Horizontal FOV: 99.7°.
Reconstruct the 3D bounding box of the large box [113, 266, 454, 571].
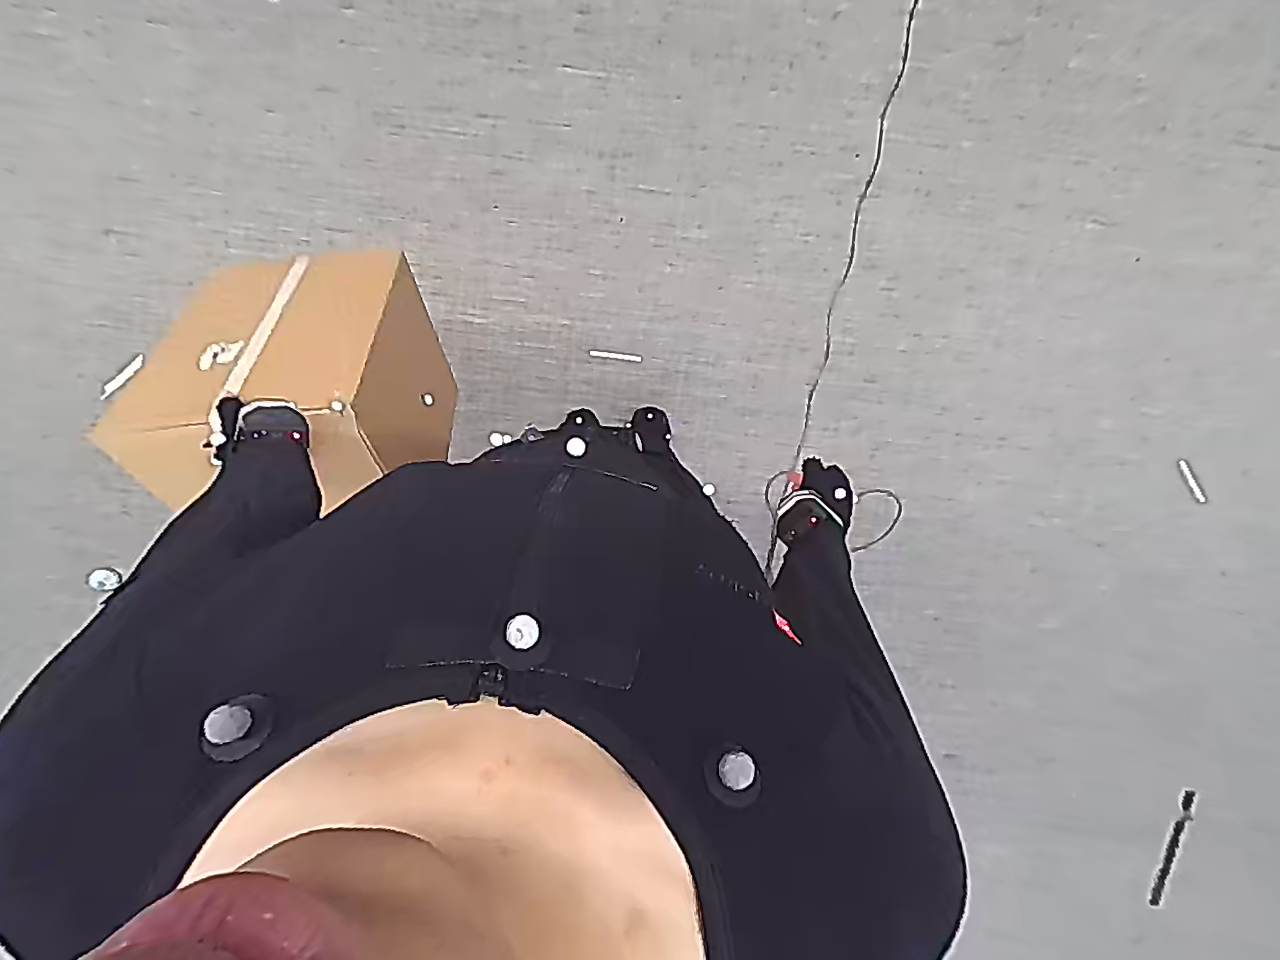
[{"bbox_3d":[-0.524,-0.110,0.915,0.320,0.408,0.320,-8,139,-2],"label":"large box"}]
